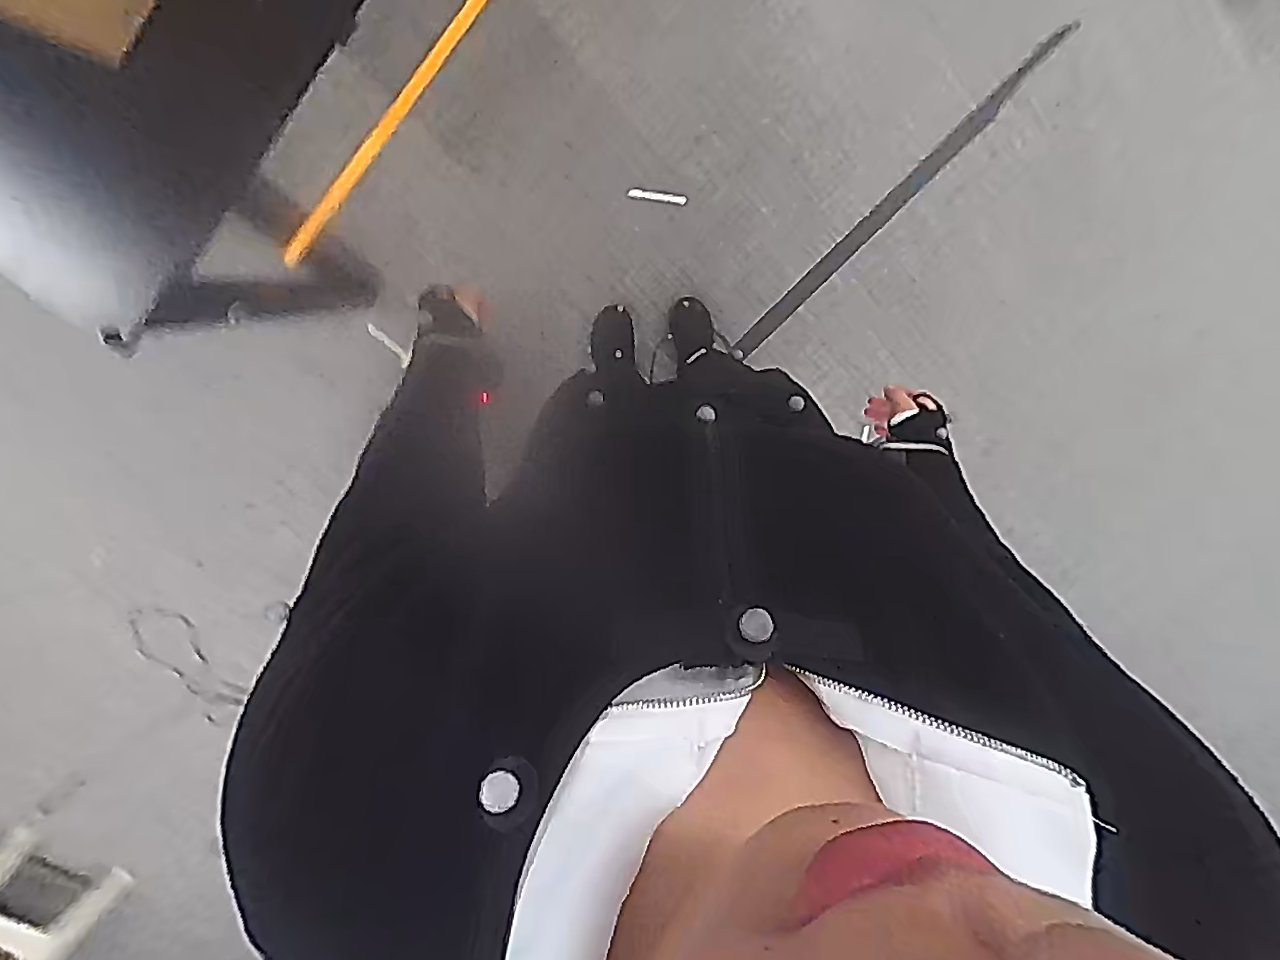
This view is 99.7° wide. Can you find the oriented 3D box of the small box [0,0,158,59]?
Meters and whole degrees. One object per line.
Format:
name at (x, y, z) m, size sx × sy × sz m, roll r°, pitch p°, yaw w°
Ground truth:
small box at (-0.553, -0.515, 0.454) m, size 0.179 × 0.176 × 0.168 m, roll 42°, pitch 103°, yaw -16°
